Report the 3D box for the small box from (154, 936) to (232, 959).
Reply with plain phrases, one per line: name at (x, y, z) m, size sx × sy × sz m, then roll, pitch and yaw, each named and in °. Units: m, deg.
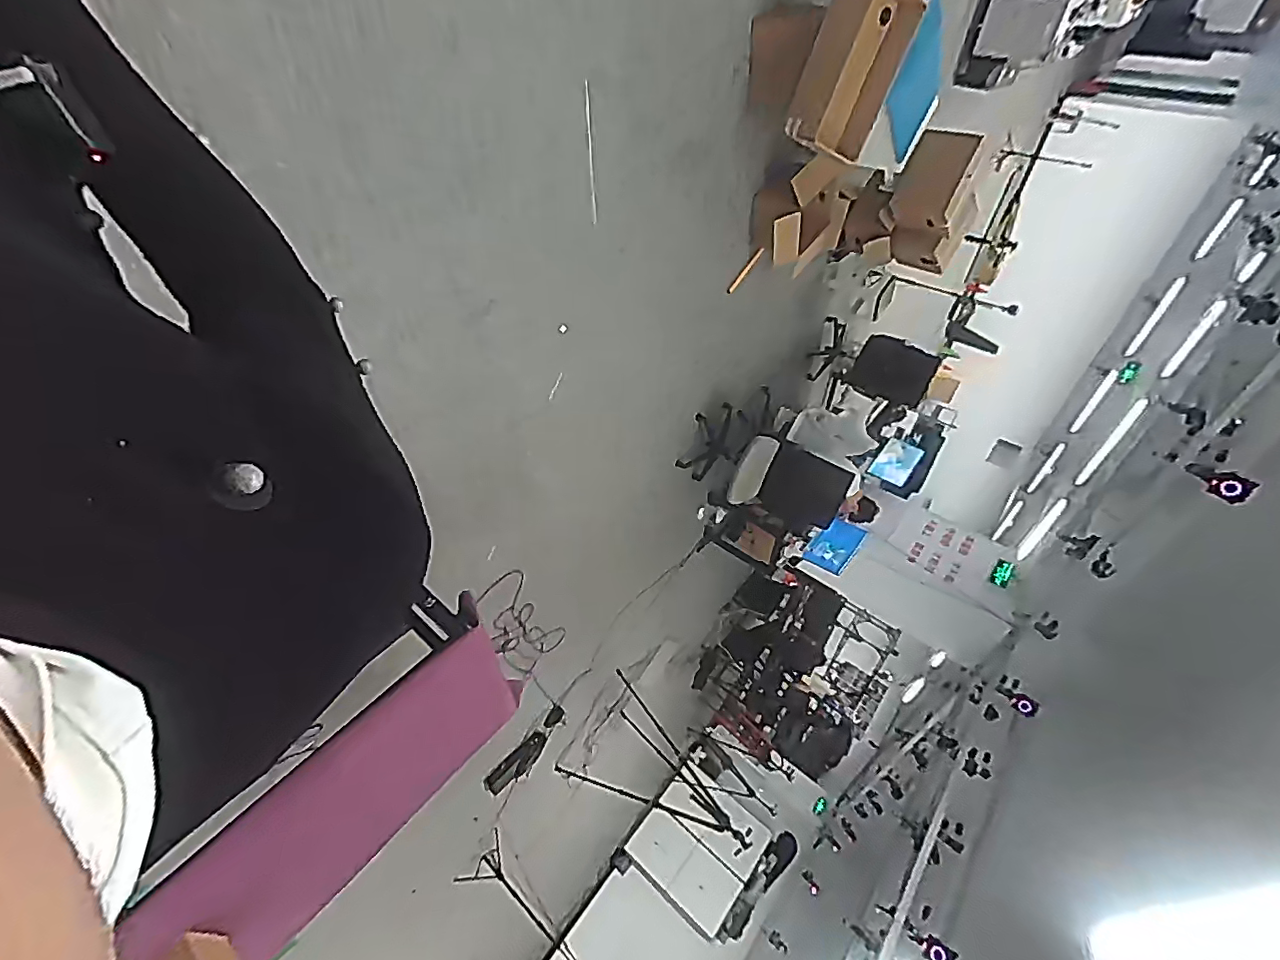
small box at (-1.021, 1.162, 1.200) m, size 0.168 × 0.176 × 0.179 m, roll -42°, pitch 150°, yaw -32°
